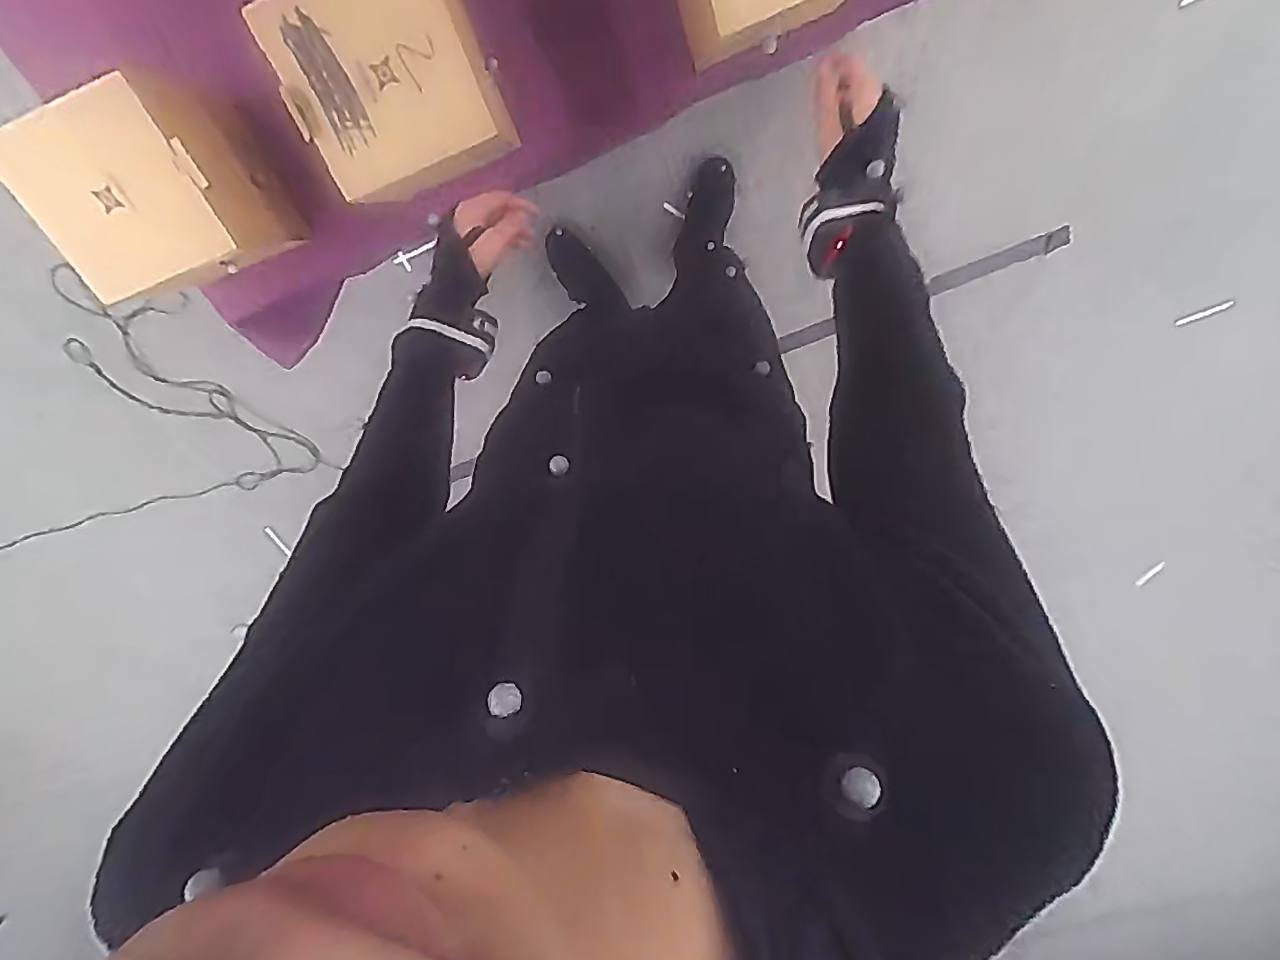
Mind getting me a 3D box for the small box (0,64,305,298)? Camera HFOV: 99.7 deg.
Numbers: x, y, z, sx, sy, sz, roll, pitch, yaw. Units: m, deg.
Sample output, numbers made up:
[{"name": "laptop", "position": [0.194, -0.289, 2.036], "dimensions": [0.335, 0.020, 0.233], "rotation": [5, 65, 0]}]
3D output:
[{"name": "small box", "position": [-0.535, -0.327, 0.613], "dimensions": [0.179, 0.176, 0.168], "rotation": [-19, 118, 6]}]
